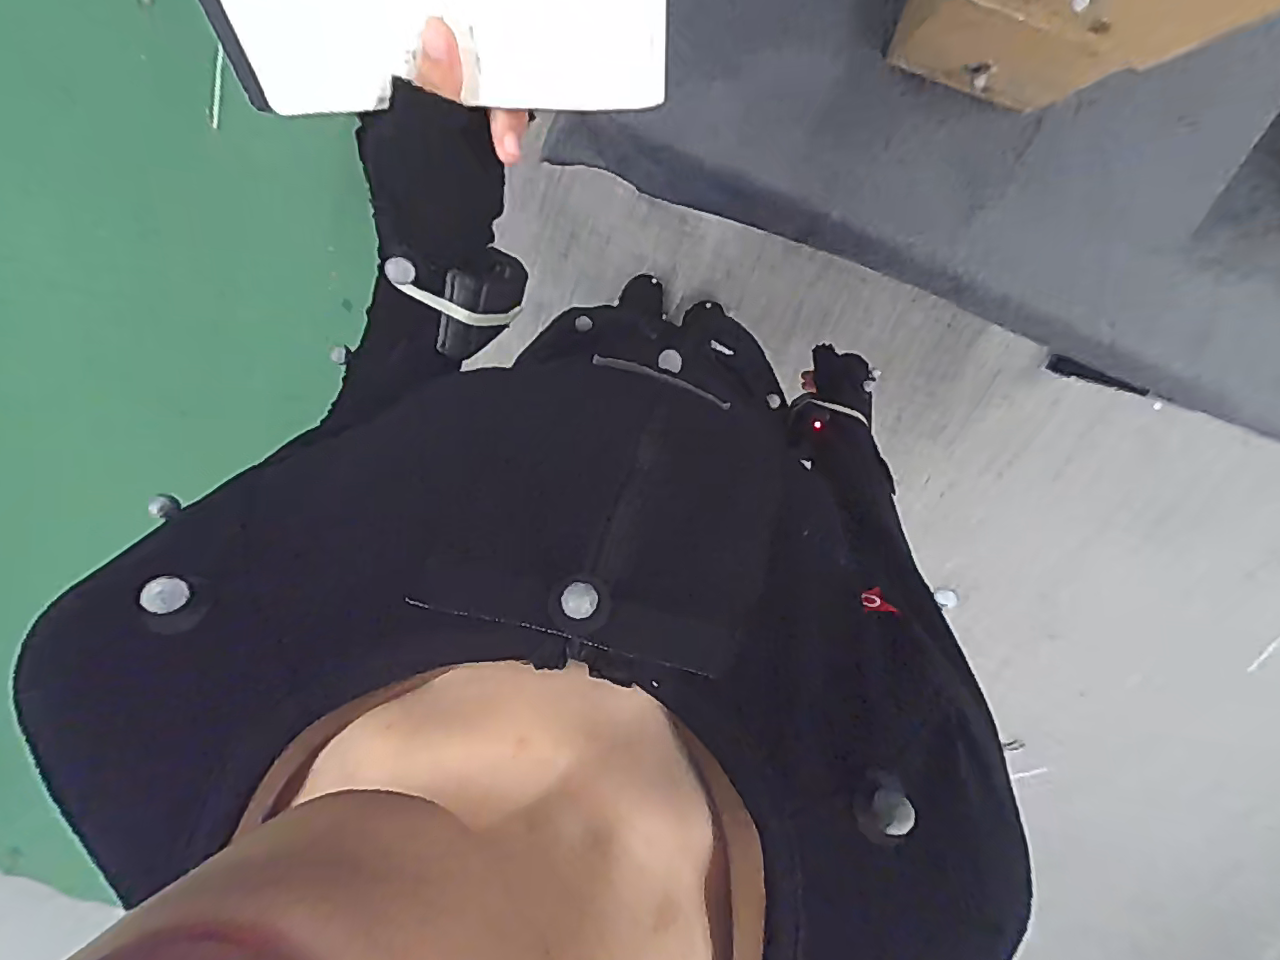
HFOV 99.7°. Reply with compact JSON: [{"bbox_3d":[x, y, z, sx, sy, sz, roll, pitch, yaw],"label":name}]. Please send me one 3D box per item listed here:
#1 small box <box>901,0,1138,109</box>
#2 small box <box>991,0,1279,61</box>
[{"bbox_3d":[0.359,-0.462,0.463,0.168,0.176,0.179,17,110,-3],"label":"small box"},{"bbox_3d":[0.349,-0.398,0.314,0.168,0.176,0.179,18,110,-4],"label":"small box"}]
